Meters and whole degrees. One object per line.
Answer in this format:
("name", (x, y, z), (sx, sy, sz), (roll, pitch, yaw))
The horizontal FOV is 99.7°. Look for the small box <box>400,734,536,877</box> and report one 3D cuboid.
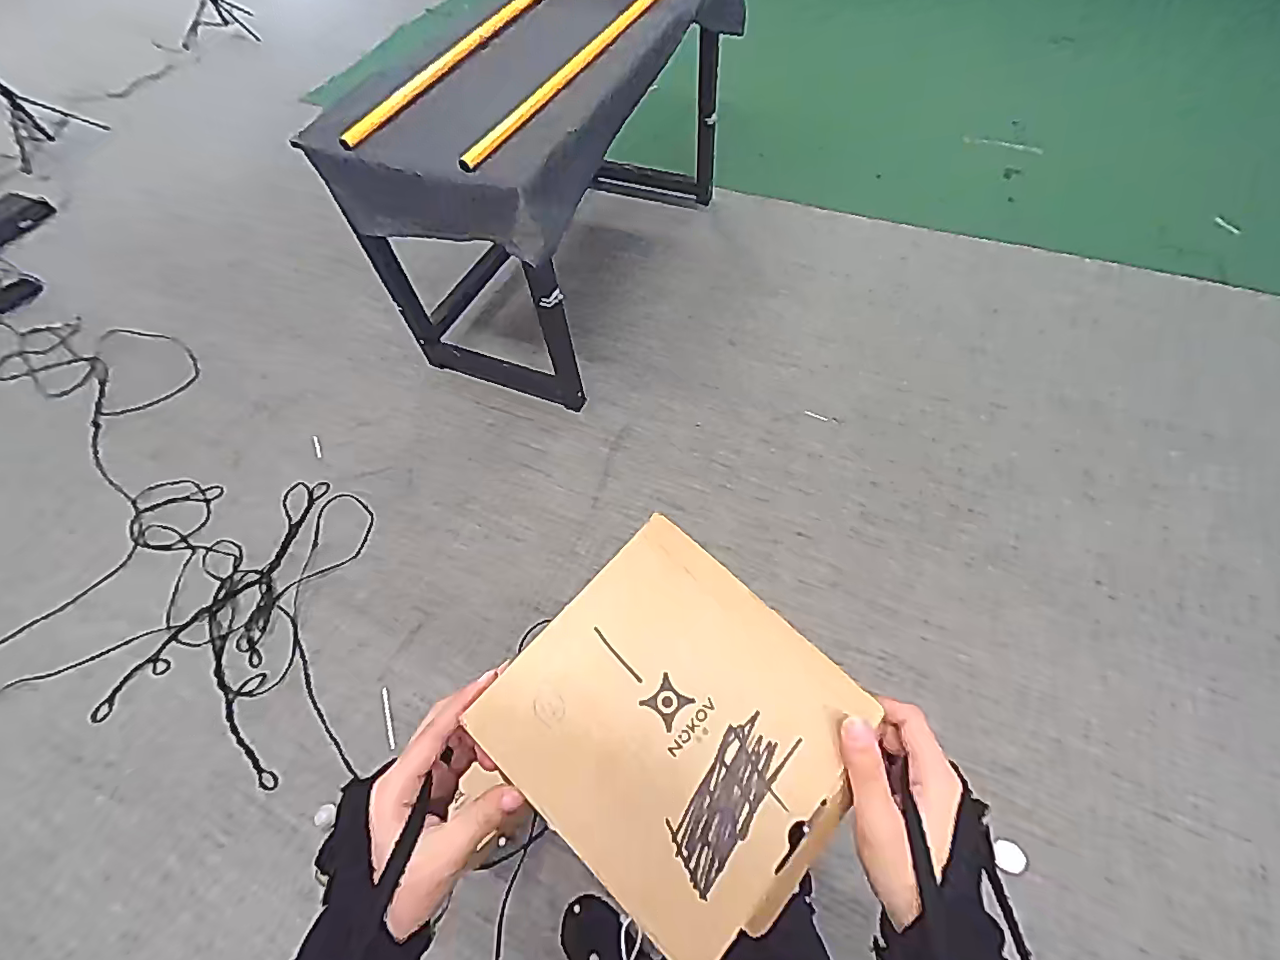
("small box", (-0.333, 0.643, 1.084), (0.168, 0.176, 0.179), (-41, 64, -18))
